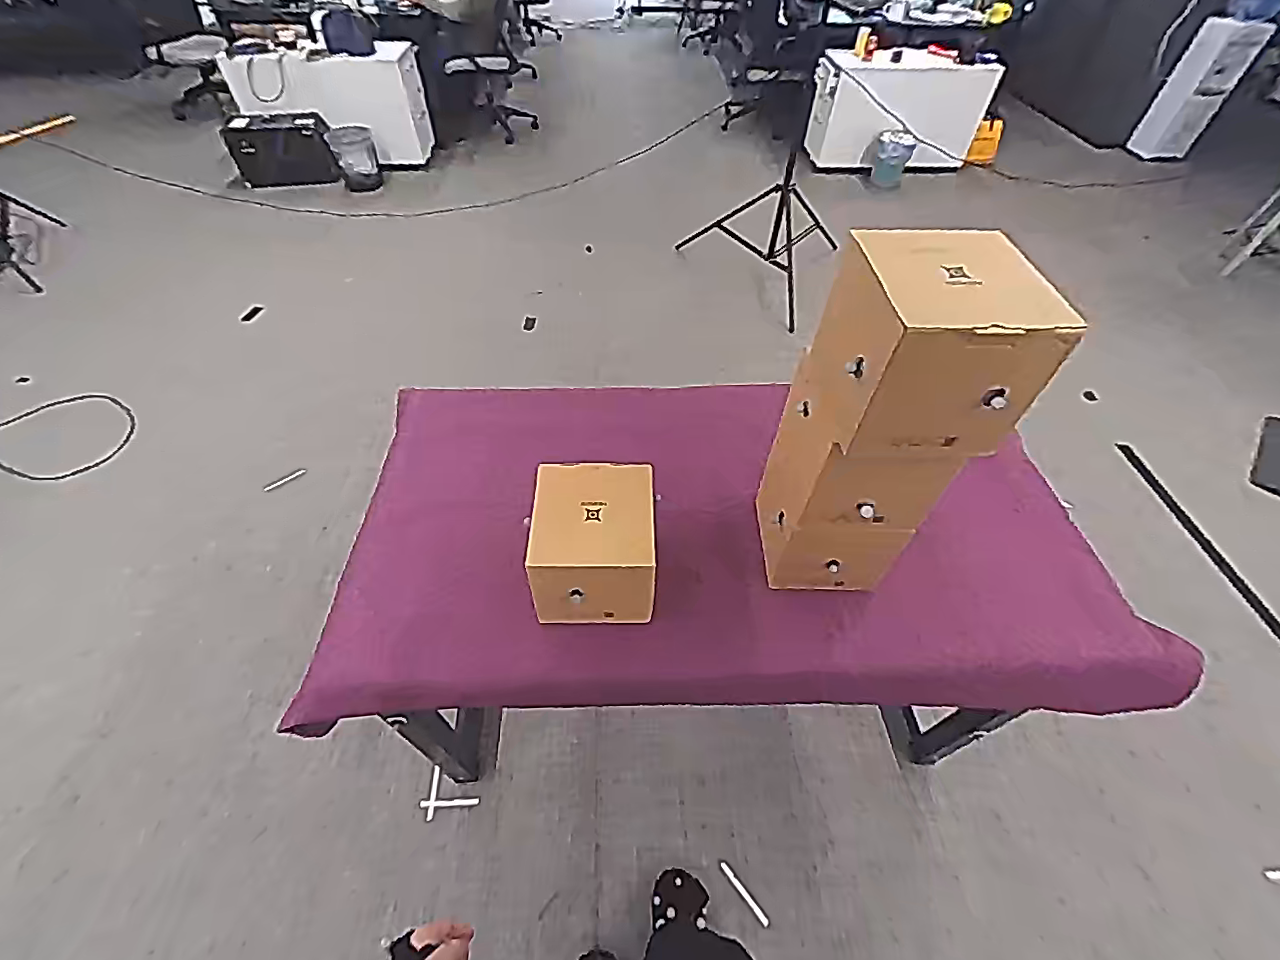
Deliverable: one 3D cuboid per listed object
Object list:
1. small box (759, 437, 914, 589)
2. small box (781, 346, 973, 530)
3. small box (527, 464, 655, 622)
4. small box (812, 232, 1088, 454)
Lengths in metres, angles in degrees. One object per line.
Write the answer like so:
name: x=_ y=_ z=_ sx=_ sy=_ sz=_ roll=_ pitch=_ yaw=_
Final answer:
small box: x=0.288 y=0.054 z=0.837 sx=0.168 sy=0.176 sz=0.179 roll=2 pitch=50 yaw=-1
small box: x=0.294 y=-0.054 z=0.714 sx=0.168 sy=0.176 sz=0.179 roll=1 pitch=51 yaw=0
small box: x=-0.063 y=0.096 z=0.793 sx=0.168 sy=0.176 sz=0.179 roll=0 pitch=49 yaw=-2
small box: x=0.301 y=-0.141 z=0.575 sx=0.168 sy=0.176 sz=0.179 roll=-1 pitch=50 yaw=-3
